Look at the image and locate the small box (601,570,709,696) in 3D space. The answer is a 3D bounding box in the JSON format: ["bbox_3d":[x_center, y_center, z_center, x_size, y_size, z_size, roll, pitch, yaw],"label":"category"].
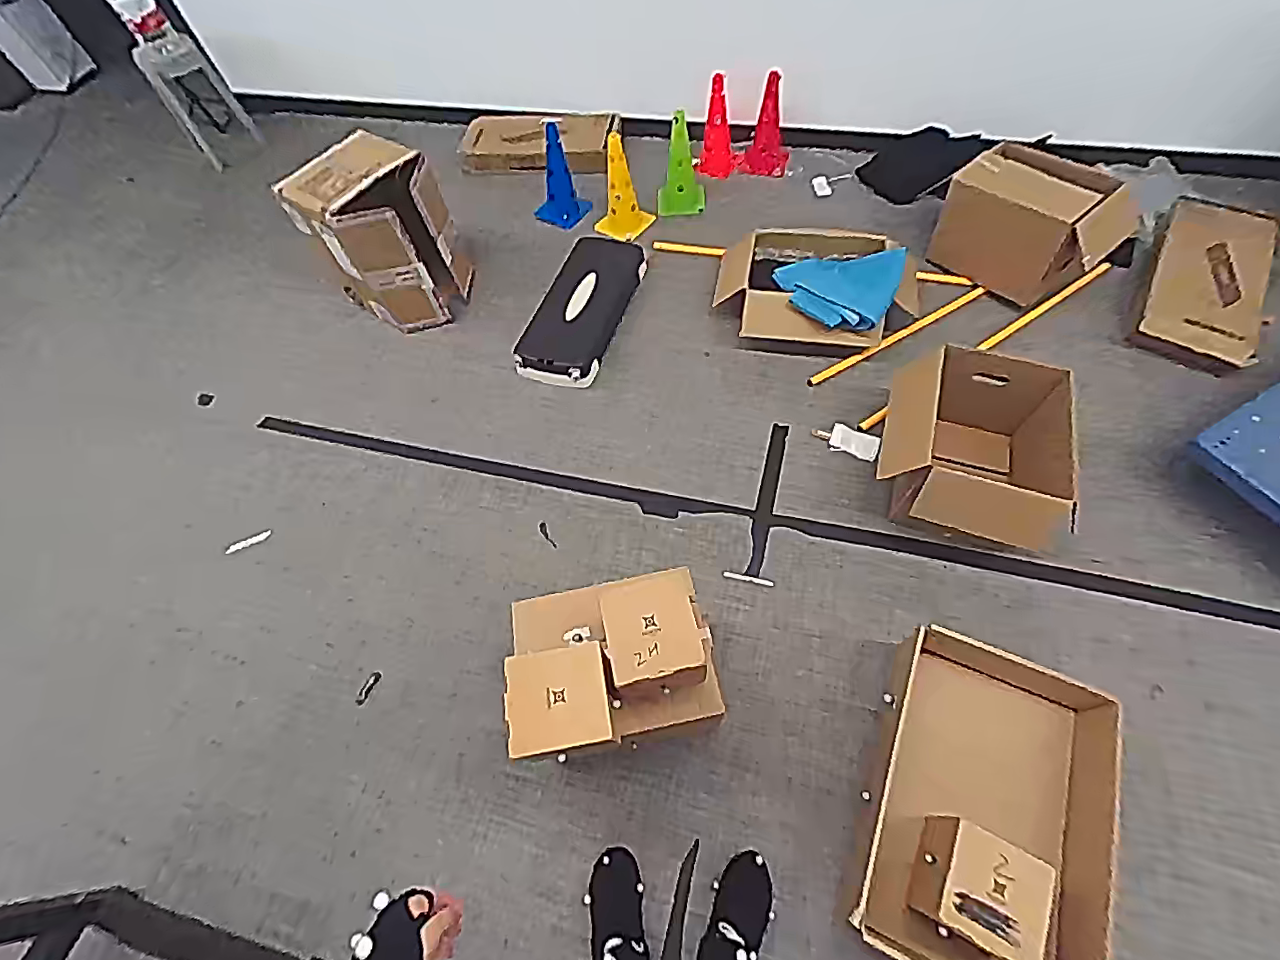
[{"bbox_3d":[0.028,0.297,1.035,0.168,0.176,0.179,-14,60,-2],"label":"small box"}]

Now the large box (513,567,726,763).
[{"bbox_3d":[-0.041,0.437,1.247,0.408,0.320,0.320,-13,59,-1],"label":"large box"}]
